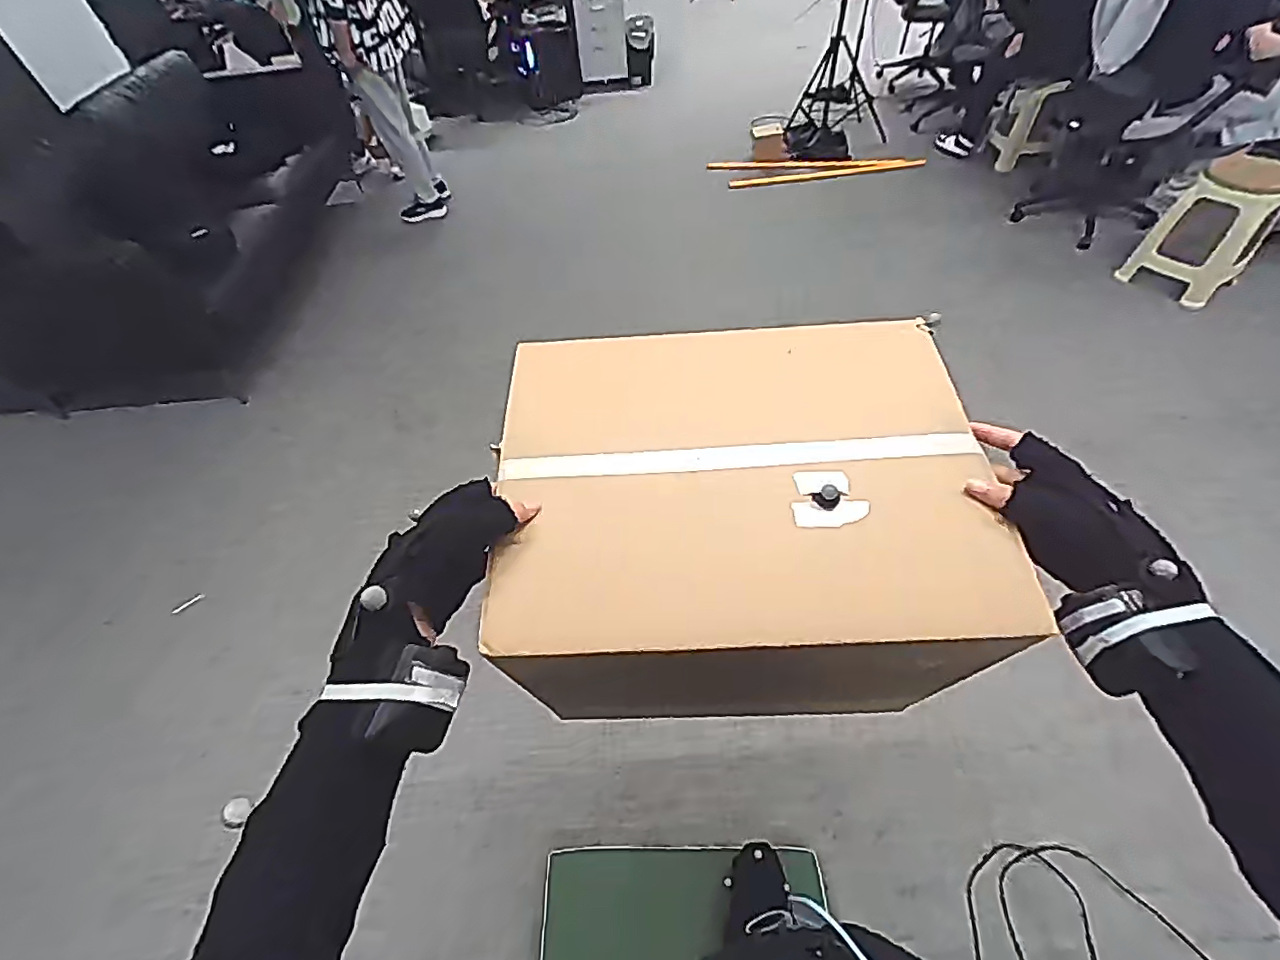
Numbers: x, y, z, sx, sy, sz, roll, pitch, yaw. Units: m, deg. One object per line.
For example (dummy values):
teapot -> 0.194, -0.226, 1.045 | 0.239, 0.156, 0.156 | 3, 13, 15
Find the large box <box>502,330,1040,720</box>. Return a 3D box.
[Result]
large box -> 0.094, 0.066, 0.598 | 0.408, 0.320, 0.320 | -3, 58, 2
